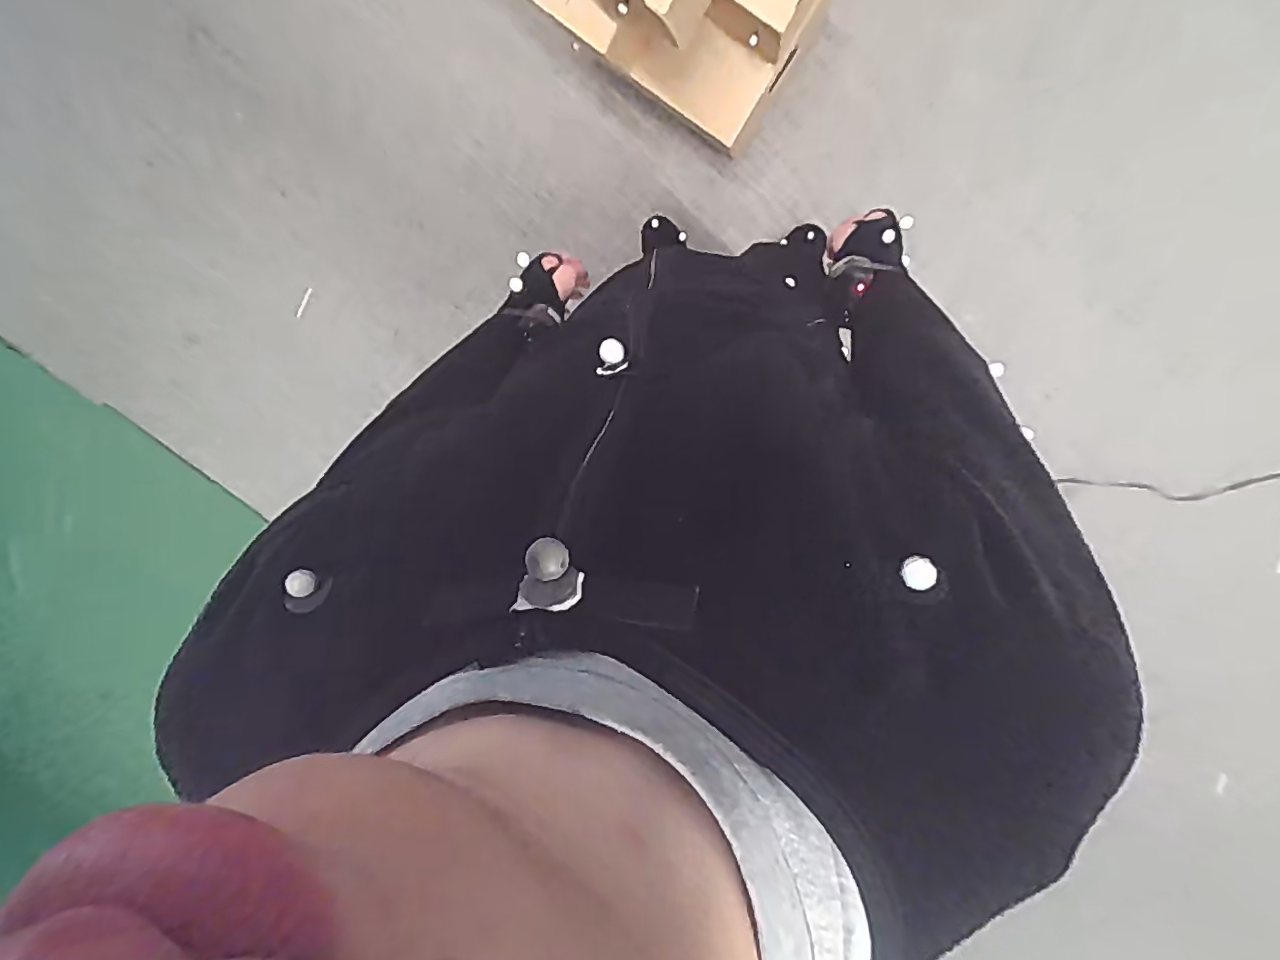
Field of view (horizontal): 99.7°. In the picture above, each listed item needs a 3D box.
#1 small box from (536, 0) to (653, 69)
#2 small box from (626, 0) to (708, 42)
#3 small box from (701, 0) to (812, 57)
[{"bbox_3d":[-0.059,-0.806,0.861,0.168,0.176,0.179,35,120,-6],"label":"small box"},{"bbox_3d":[0.029,-0.719,0.696,0.168,0.176,0.179,37,119,-6],"label":"small box"},{"bbox_3d":[0.187,-0.786,0.818,0.179,0.176,0.168,32,115,-3],"label":"small box"}]
